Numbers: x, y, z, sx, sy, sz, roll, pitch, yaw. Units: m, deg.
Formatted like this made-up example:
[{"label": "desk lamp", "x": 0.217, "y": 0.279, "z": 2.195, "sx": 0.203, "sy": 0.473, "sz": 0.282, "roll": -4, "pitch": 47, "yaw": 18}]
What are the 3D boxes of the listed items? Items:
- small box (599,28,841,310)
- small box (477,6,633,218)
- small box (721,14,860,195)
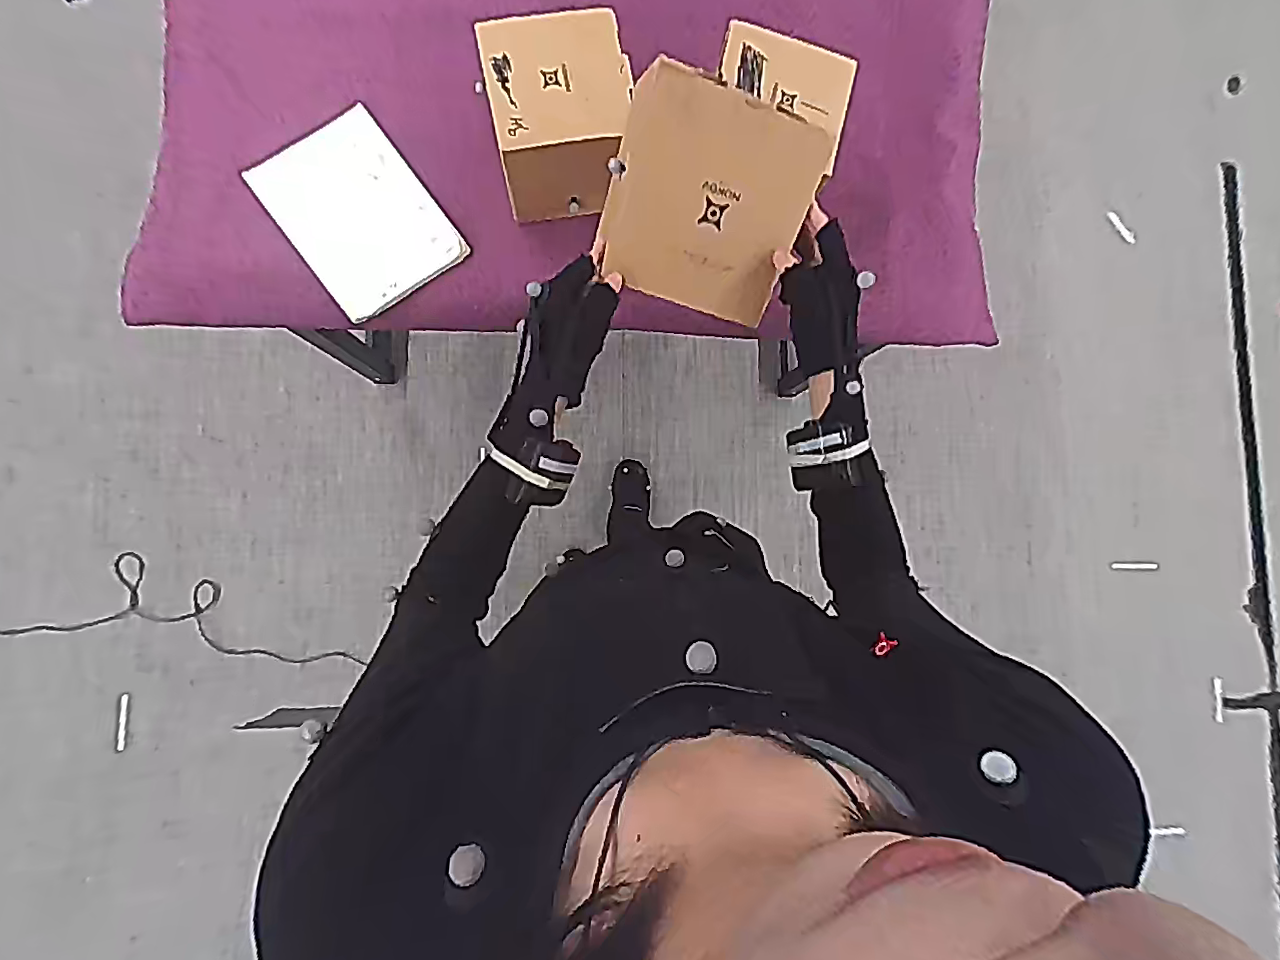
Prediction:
[{"label": "small box", "x": 0.058, "y": -0.292, "z": 0.535, "sx": 0.168, "sy": 0.176, "sz": 0.179, "roll": 13, "pitch": 117, "yaw": -13}, {"label": "small box", "x": -0.107, "y": -0.485, "z": 0.733, "sx": 0.179, "sy": 0.176, "sz": 0.168, "roll": -12, "pitch": 87, "yaw": -7}, {"label": "small box", "x": 0.172, "y": -0.483, "z": 0.759, "sx": 0.179, "sy": 0.176, "sz": 0.168, "roll": 16, "pitch": 84, "yaw": -5}]
